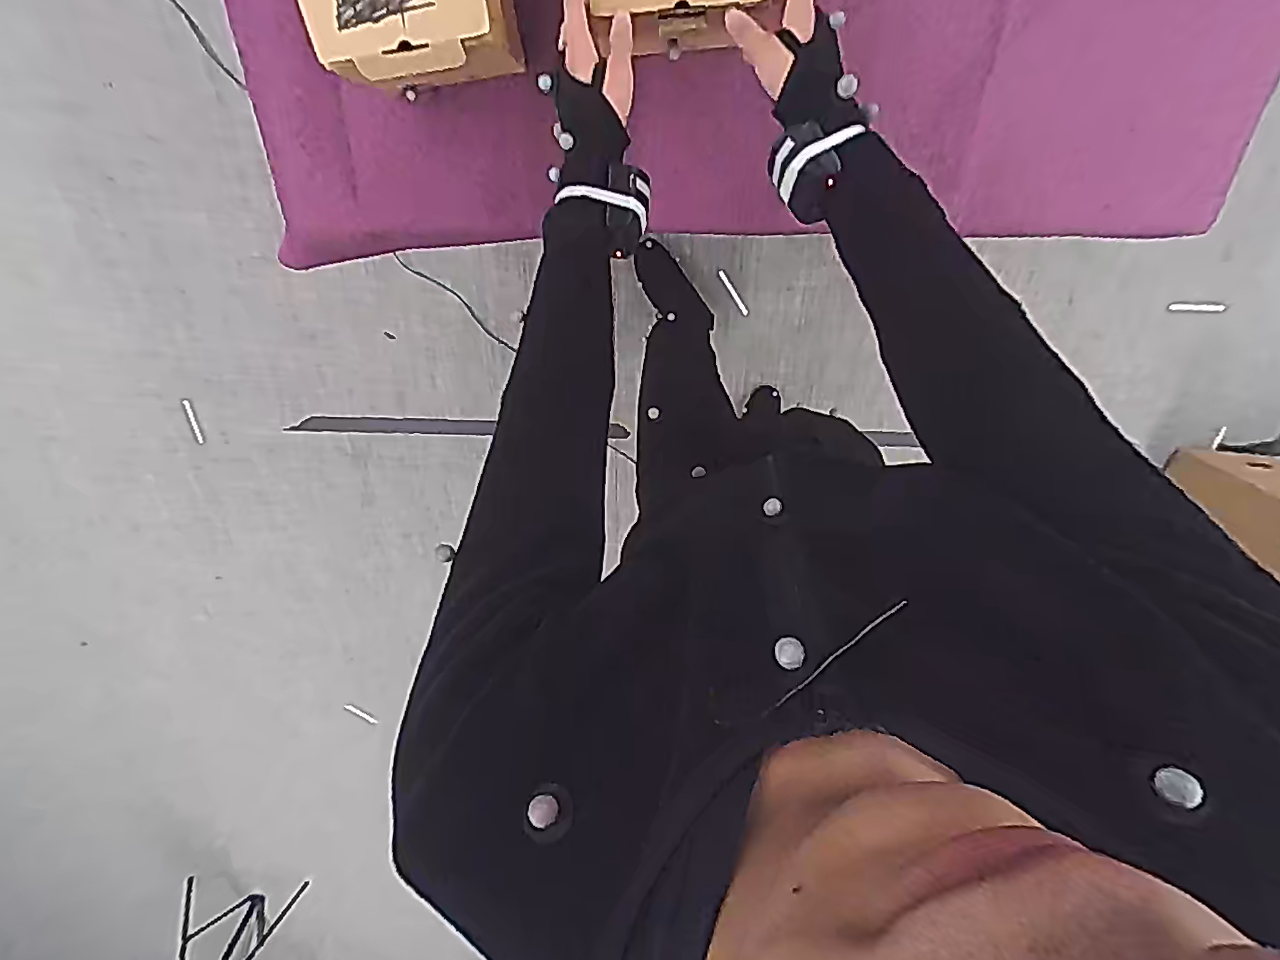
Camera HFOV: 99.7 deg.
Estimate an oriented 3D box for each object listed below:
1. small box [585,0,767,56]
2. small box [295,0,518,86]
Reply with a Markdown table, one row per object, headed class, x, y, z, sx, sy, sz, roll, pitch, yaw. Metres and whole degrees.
| class | x | y | z | sx | sy | sz | roll | pitch | yaw |
| --- | --- | --- | --- | --- | --- | --- | --- | --- | --- |
| small box | 0.027 | -0.533 | 0.511 | 0.168 | 0.176 | 0.179 | -3 | 118 | 2 |
| small box | -0.228 | -0.505 | 0.524 | 0.168 | 0.176 | 0.179 | -8 | 117 | 3 |
